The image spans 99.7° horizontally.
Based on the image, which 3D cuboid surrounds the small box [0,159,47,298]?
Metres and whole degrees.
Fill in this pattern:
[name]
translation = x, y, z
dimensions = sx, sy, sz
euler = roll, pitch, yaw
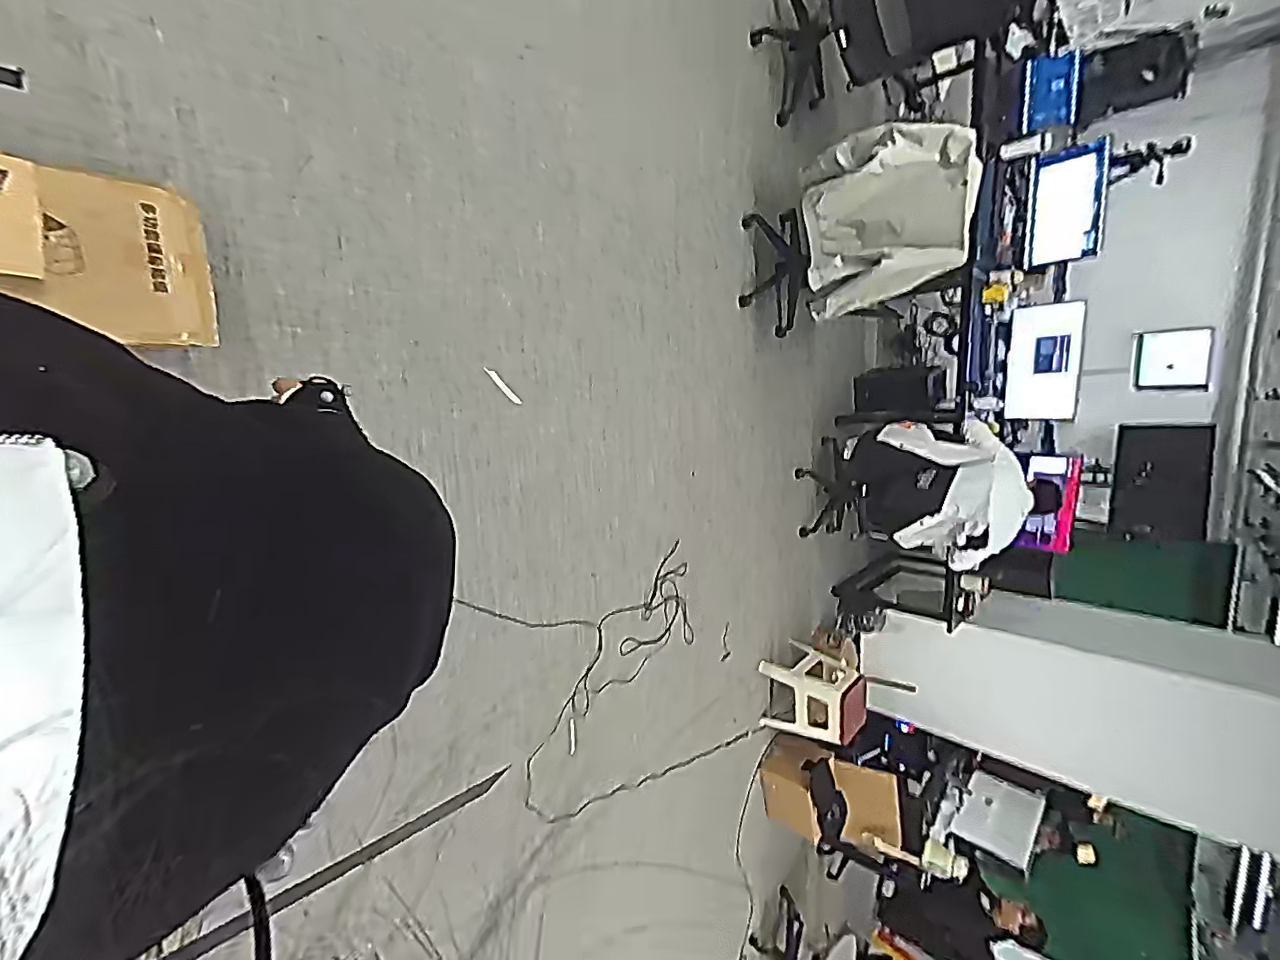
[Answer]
[small box]
translation = -1.037, -0.392, 0.827
dimensions = 0.168, 0.176, 0.179
euler = -5, 98, -45
